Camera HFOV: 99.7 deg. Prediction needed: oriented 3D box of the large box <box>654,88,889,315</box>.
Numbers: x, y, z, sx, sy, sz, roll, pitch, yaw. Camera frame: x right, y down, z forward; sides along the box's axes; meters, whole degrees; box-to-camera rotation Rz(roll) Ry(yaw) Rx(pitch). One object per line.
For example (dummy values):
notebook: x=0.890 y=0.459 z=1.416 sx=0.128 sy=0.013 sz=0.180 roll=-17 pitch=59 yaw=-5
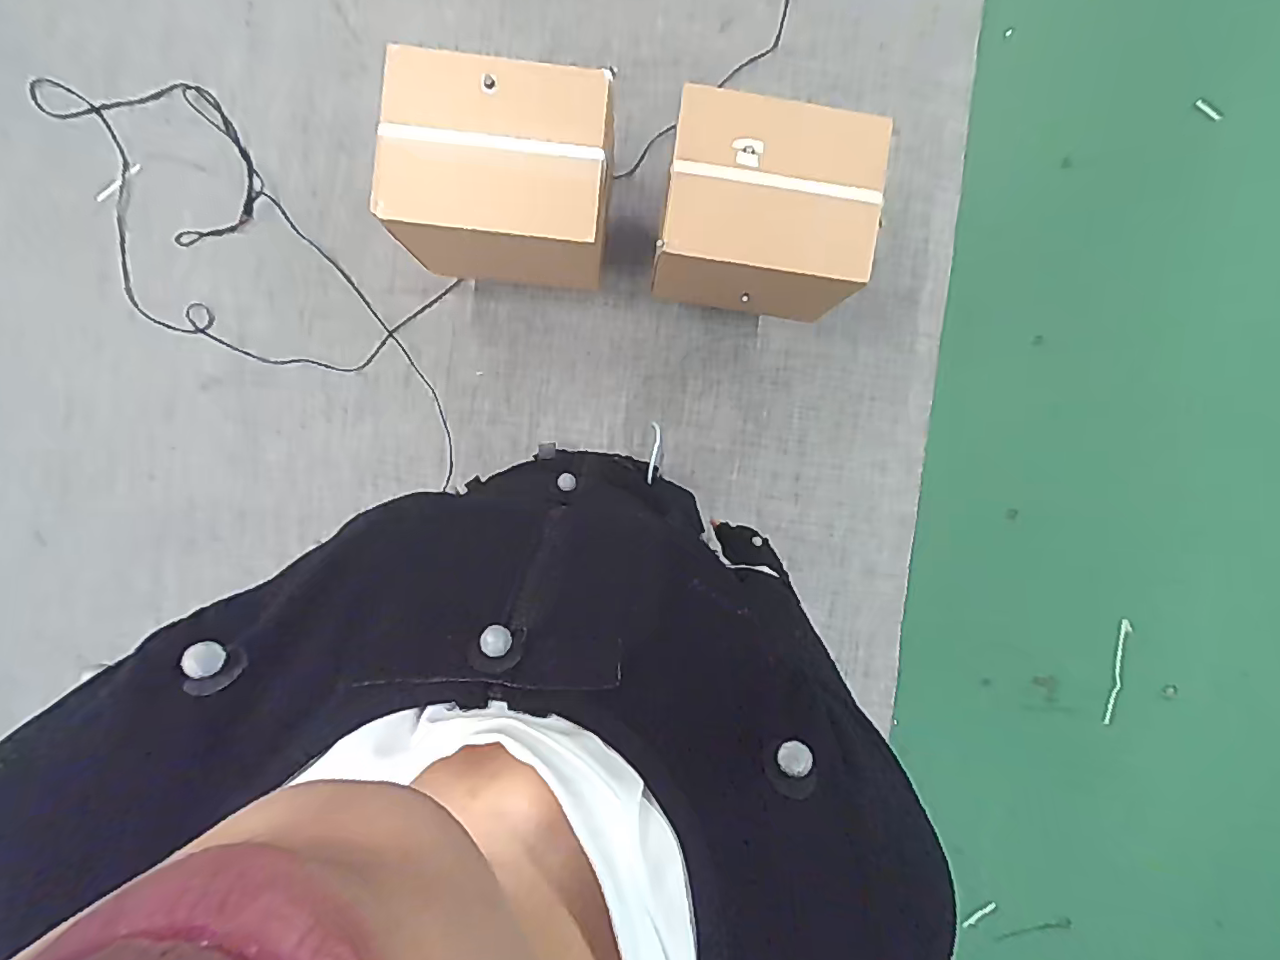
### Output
large box: x=0.255 y=-0.568 z=1.174 sx=0.408 sy=0.320 sz=0.320 roll=8 pitch=92 yaw=-3
